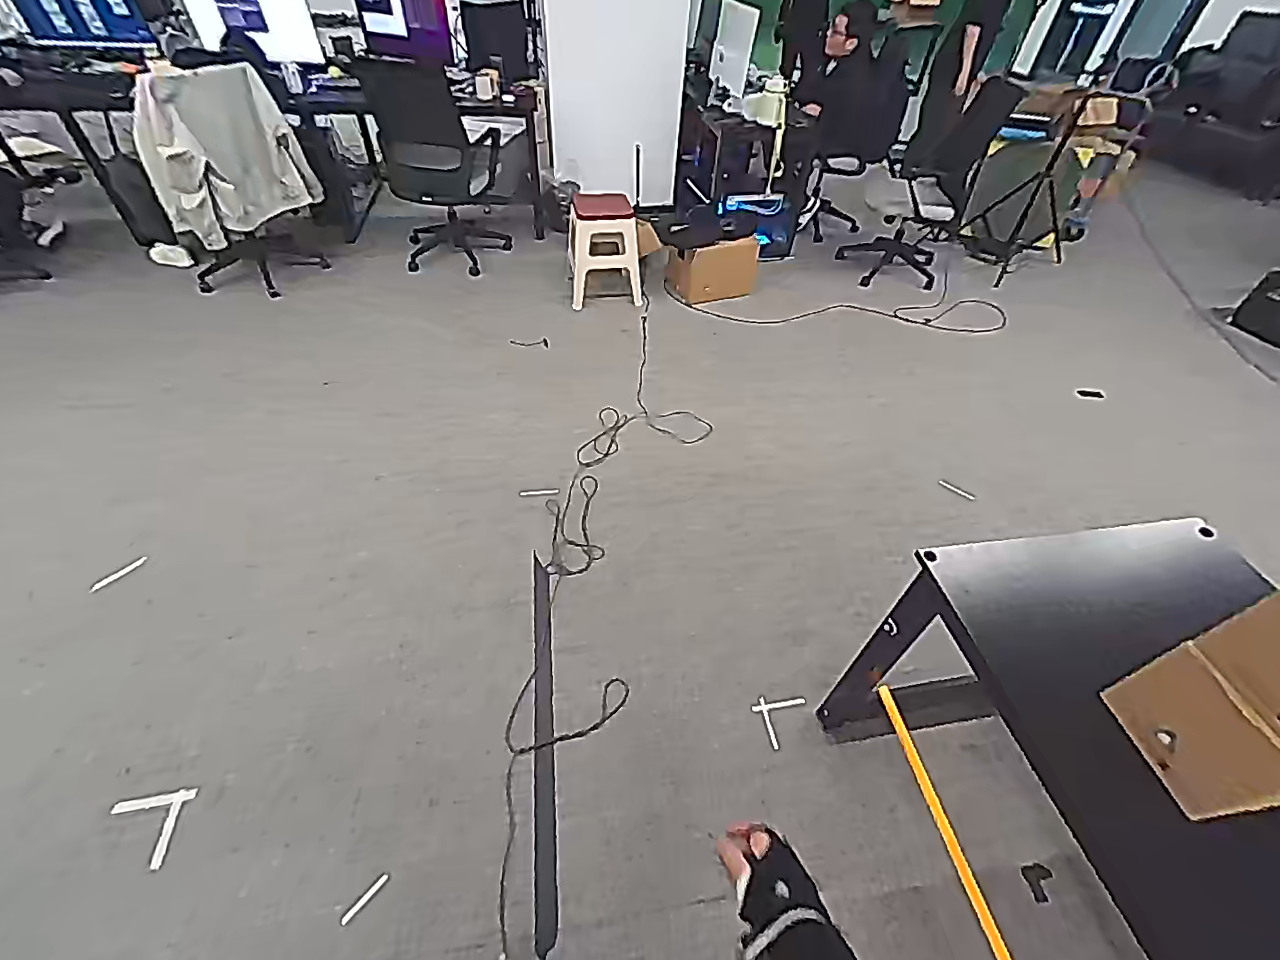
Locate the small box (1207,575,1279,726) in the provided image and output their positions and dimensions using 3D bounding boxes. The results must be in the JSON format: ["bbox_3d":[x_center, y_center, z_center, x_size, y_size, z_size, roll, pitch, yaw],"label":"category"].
[{"bbox_3d":[0.795,0.190,0.586,0.179,0.176,0.168,-7,47,-9],"label":"small box"}]

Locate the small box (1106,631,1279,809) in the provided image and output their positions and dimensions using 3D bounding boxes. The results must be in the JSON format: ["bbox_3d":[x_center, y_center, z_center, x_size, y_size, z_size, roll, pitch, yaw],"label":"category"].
[{"bbox_3d":[0.780,0.306,0.701,0.179,0.176,0.168,-4,46,-7],"label":"small box"}]
